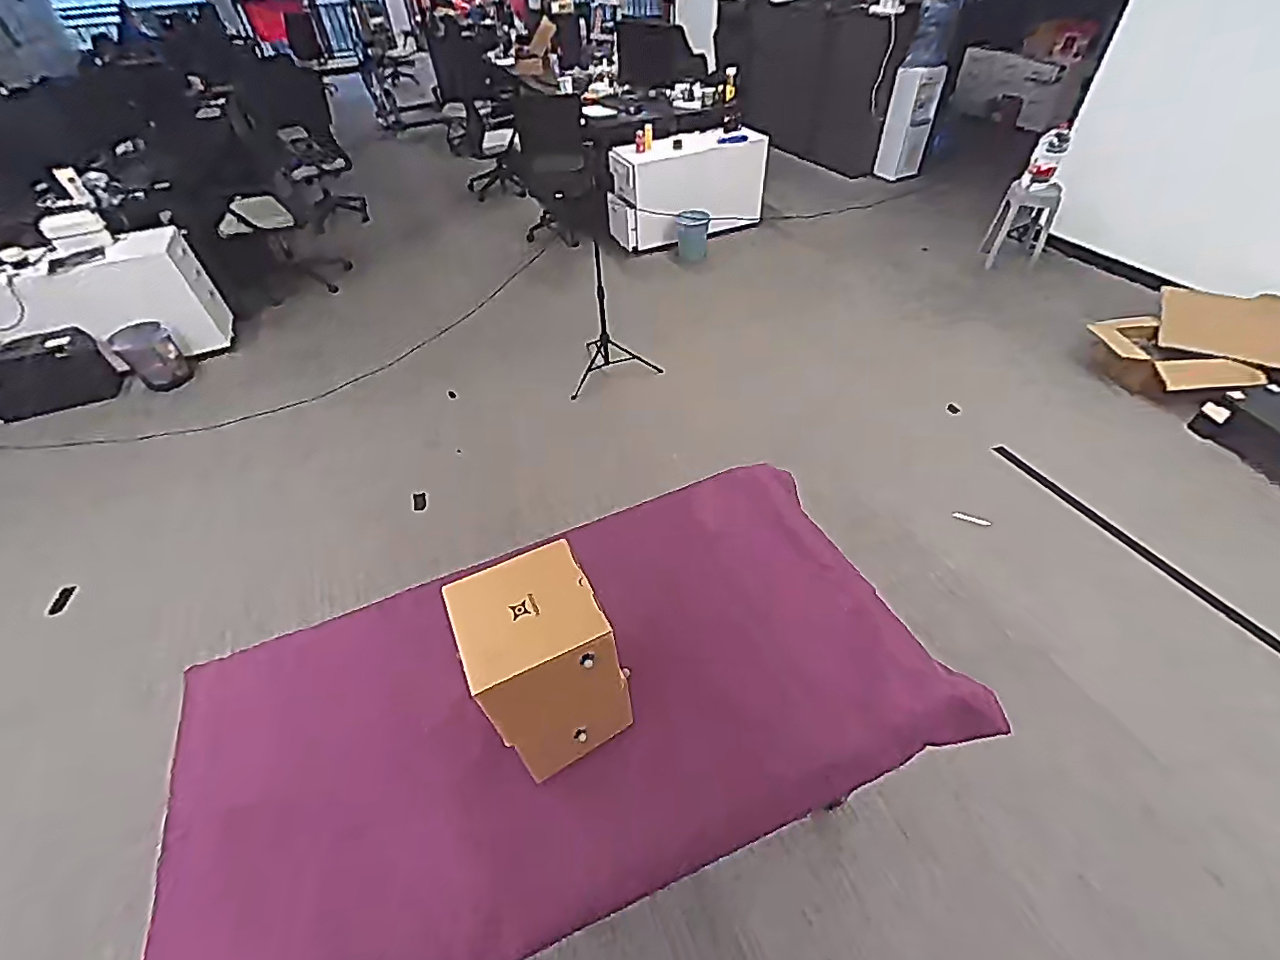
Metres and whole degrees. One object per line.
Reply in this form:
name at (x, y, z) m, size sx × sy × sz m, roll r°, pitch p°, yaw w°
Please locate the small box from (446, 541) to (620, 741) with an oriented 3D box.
small box at (-0.140, 0.221, 0.738) m, size 0.179 × 0.176 × 0.168 m, roll -21°, pitch 48°, yaw -17°
